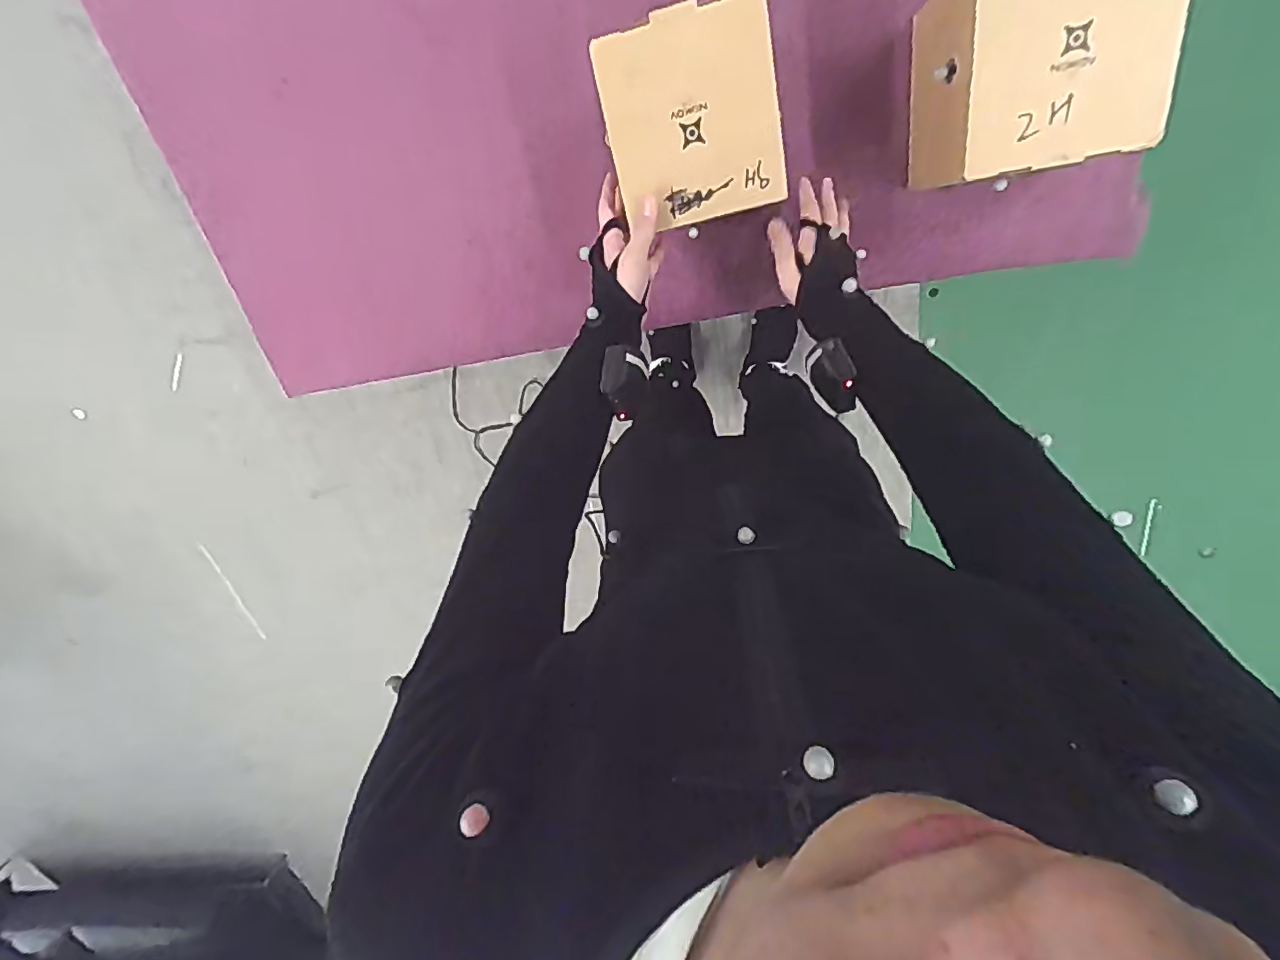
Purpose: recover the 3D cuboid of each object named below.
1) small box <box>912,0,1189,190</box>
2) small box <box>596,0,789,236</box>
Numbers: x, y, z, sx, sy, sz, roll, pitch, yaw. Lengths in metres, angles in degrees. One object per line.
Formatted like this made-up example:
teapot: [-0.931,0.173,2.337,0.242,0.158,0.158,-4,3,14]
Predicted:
small box: [0.385,-0.403,0.539,0.168,0.176,0.179,-5,115,11]
small box: [0.062,-0.378,0.595,0.168,0.176,0.179,-9,113,12]
